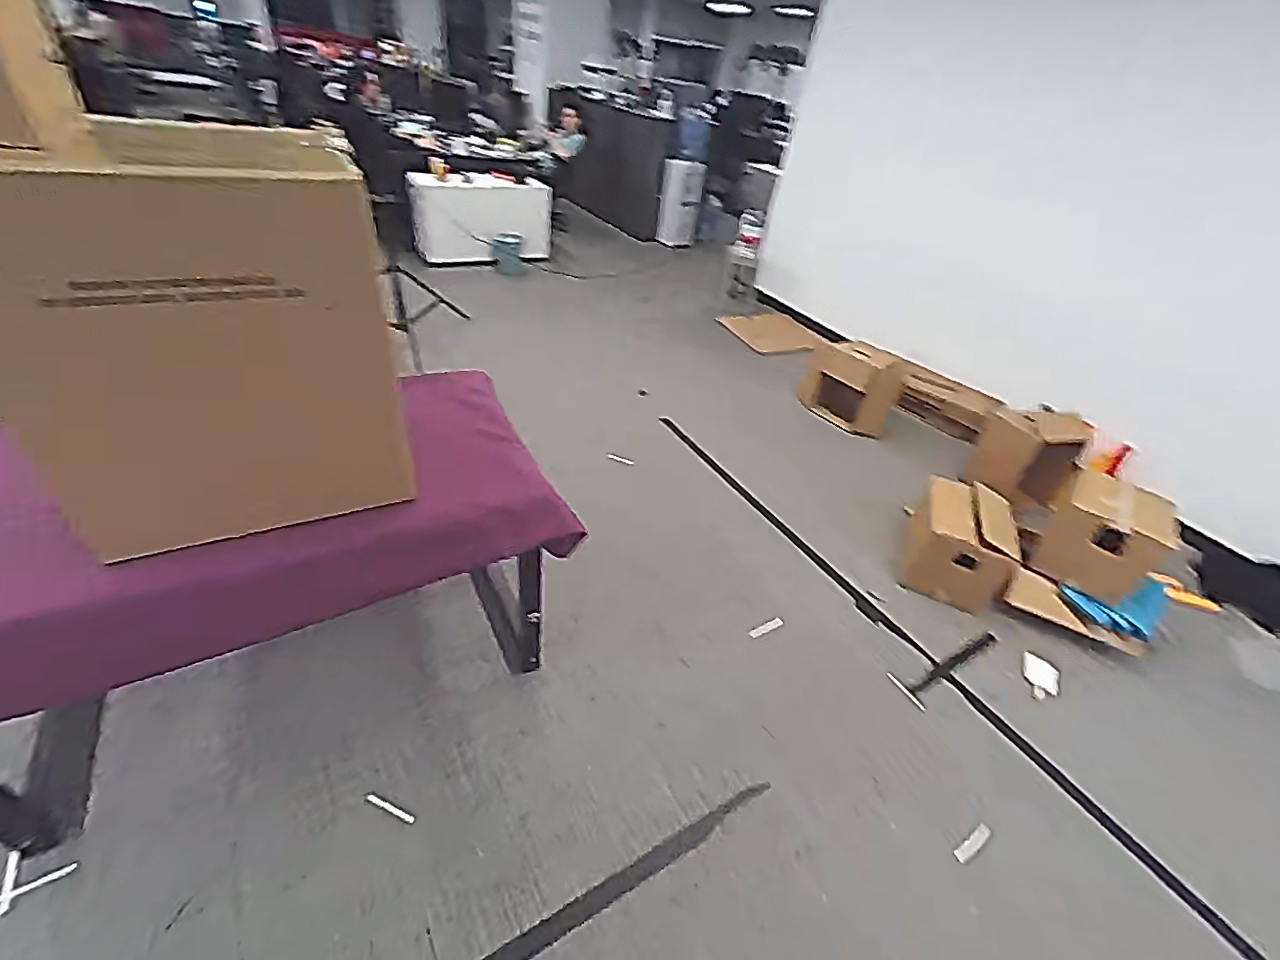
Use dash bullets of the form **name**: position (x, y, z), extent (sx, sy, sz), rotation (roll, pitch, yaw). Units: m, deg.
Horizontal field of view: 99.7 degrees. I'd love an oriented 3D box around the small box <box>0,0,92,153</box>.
- **small box**: position (-0.854, -0.522, 0.678), extent (0.179, 0.176, 0.168), rotation (-8, 40, -22)
